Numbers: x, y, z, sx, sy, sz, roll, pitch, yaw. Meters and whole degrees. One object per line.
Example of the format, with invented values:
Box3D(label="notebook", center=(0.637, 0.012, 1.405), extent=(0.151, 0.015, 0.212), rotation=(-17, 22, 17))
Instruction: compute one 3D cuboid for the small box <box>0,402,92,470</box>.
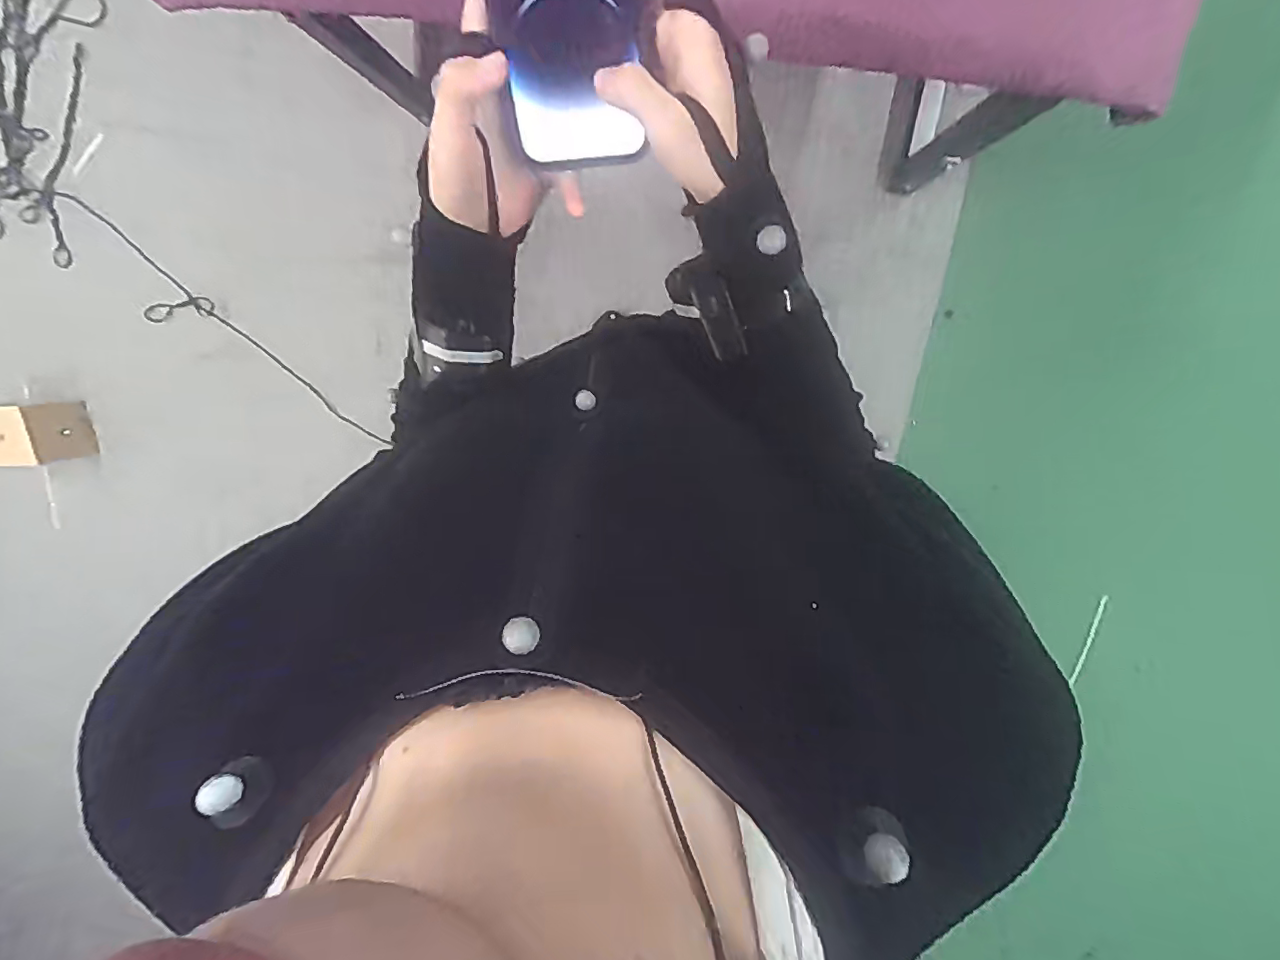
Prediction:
Box3D(label="small box", center=(-1.721, -0.129, 1.535), extent=(0.179, 0.176, 0.168), rotation=(1, 106, 5))
